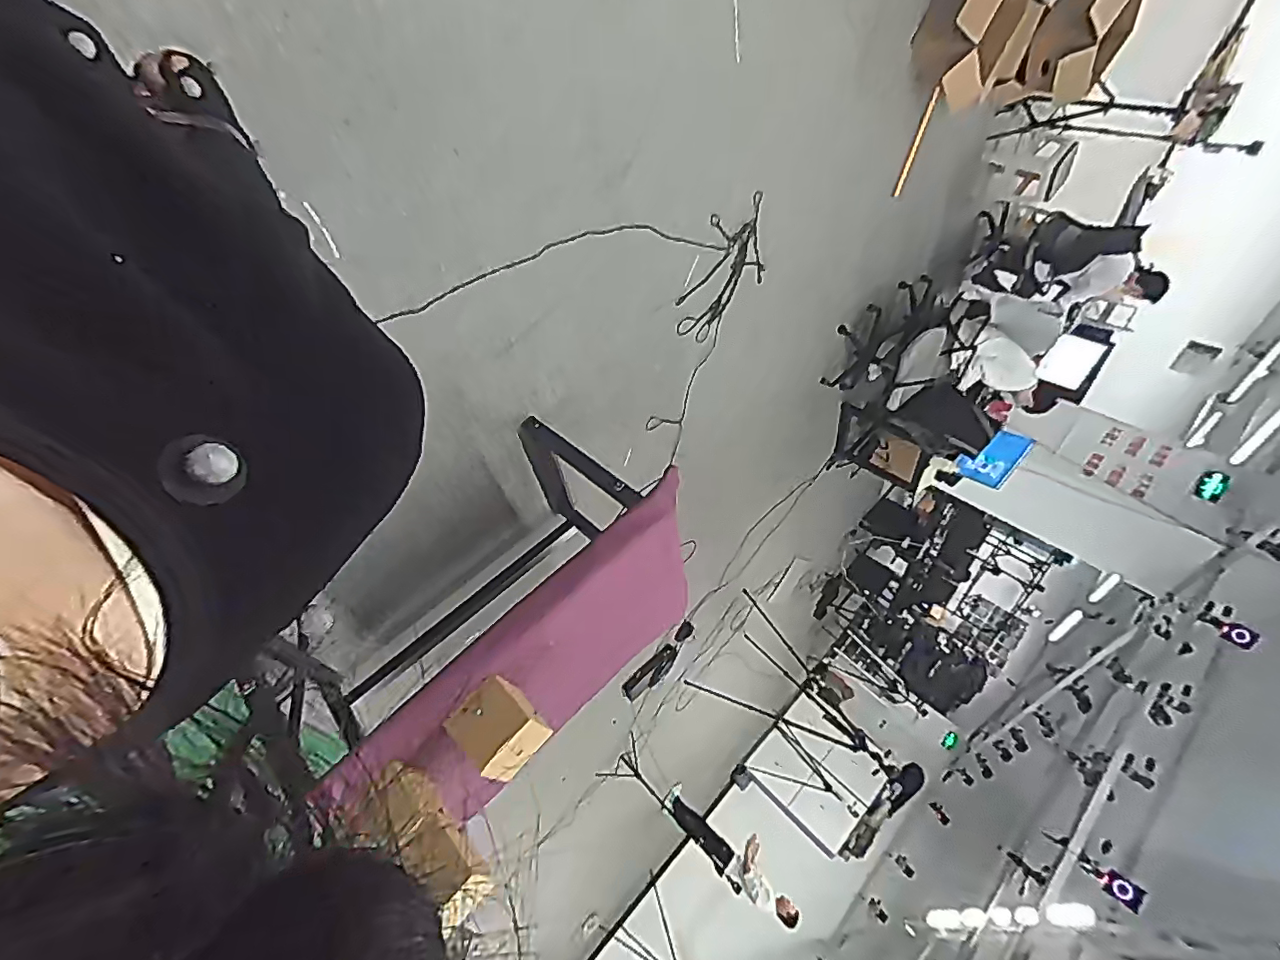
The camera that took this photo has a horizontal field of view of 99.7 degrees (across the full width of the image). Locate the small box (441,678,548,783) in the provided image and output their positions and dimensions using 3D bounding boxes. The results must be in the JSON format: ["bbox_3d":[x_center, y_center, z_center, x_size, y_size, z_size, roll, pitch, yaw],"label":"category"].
[{"bbox_3d":[-0.371,0.638,1.386,0.168,0.176,0.179,-44,147,-17],"label":"small box"}]

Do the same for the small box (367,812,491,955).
[{"bbox_3d":[-0.463,0.875,1.177,0.179,0.176,0.168,-39,144,-25],"label":"small box"}]

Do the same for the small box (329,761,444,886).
[{"bbox_3d":[-0.585,0.798,1.255,0.179,0.176,0.168,-42,146,-19],"label":"small box"}]
